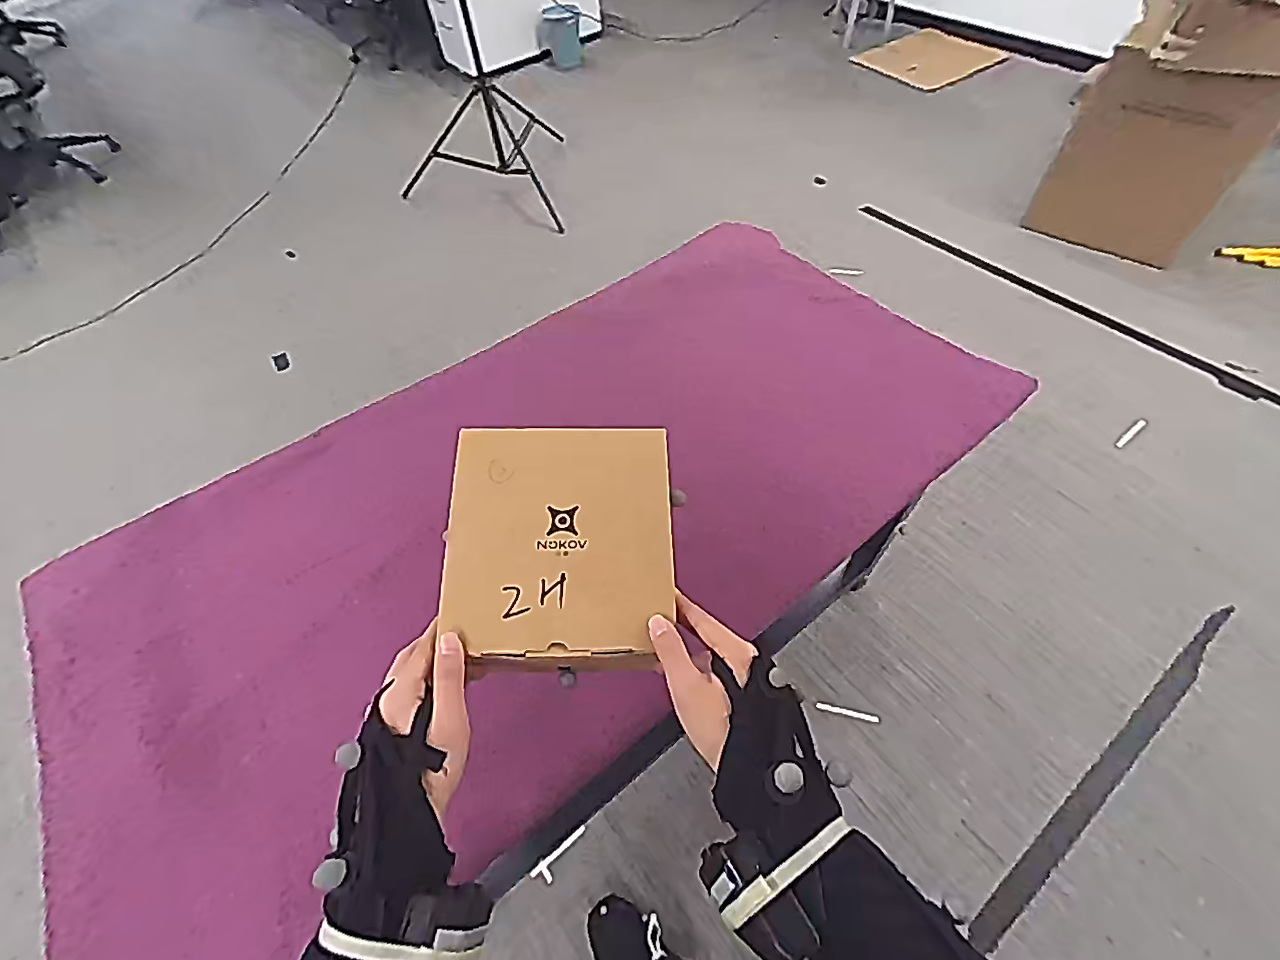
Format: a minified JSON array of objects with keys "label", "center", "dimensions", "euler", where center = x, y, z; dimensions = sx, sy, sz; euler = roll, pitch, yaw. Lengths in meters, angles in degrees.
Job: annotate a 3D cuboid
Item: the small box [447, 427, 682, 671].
[{"label":"small box","center":[-0.057,0.069,0.479],"dimensions":[0.168,0.176,0.179],"euler":[-1,67,-3]}]
